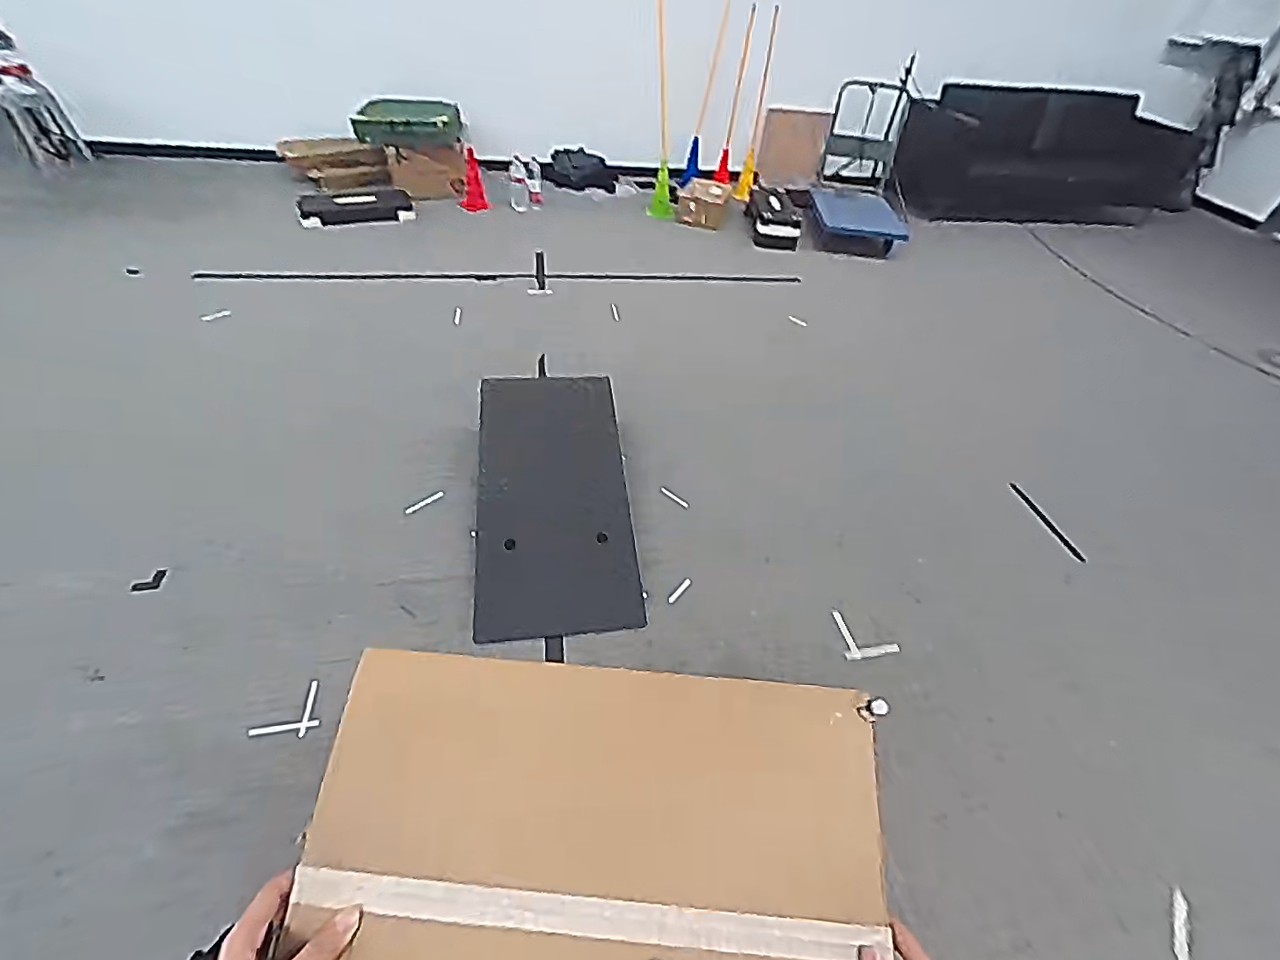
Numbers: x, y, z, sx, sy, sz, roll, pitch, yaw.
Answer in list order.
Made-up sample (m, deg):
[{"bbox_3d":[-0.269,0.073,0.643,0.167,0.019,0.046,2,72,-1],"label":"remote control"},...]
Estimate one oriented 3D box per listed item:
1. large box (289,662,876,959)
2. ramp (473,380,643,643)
[{"bbox_3d":[-0.038,0.362,0.511,0.408,0.320,0.320,3,66,2],"label":"large box"},{"bbox_3d":[-0.292,0.032,1.812,0.509,0.206,0.991,-3,46,-12],"label":"ramp"}]
